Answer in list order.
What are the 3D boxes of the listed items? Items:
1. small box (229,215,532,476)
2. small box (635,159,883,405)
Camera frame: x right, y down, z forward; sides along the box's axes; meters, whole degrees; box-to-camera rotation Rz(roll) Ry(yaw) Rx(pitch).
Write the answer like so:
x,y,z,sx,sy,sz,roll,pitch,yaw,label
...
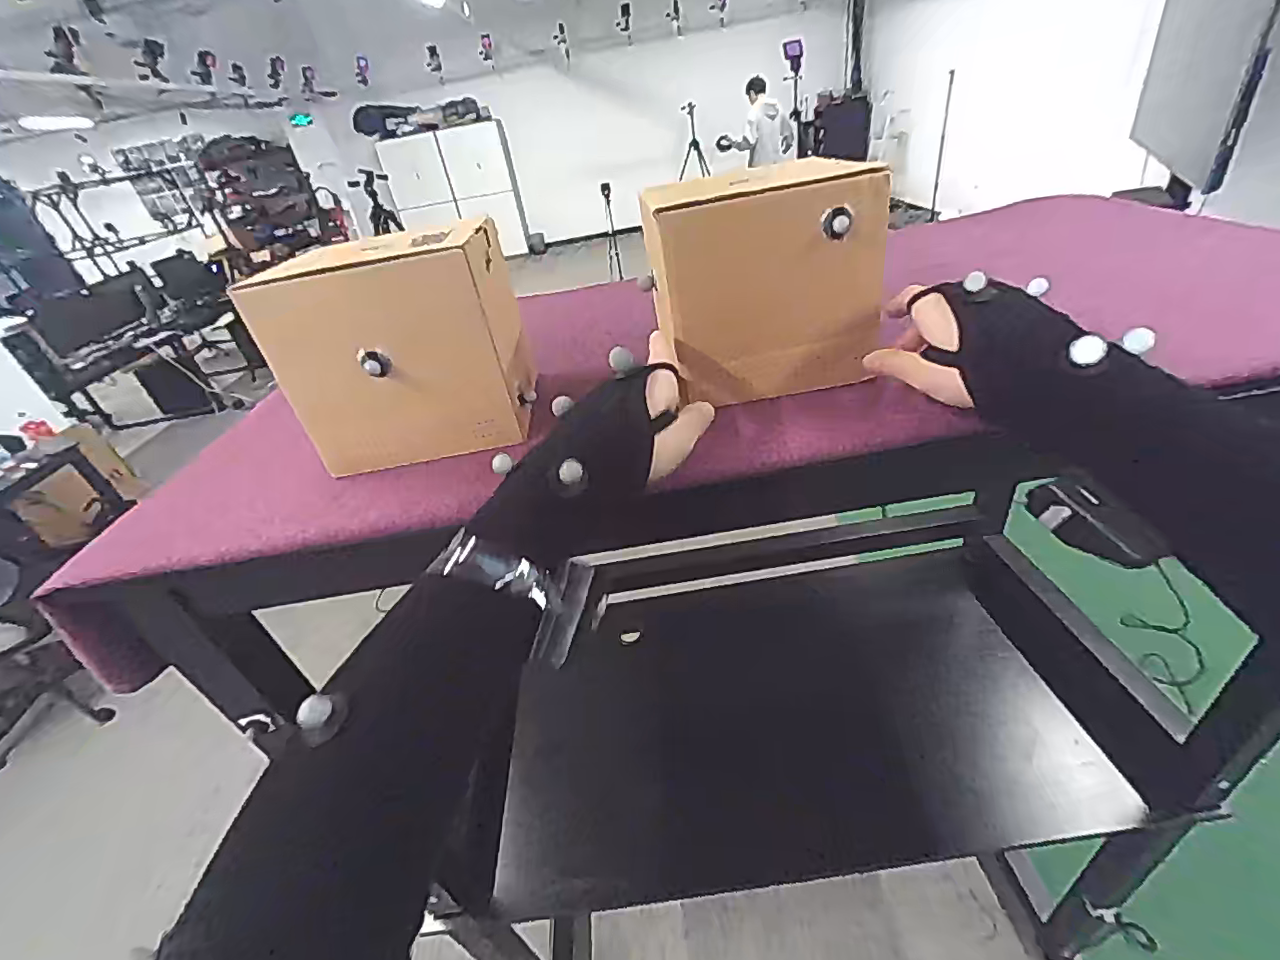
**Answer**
x,y,z,sx,sy,sz,roll,pitch,yaw,label
-0.206,-0.125,0.497,0.179,0.176,0.168,-12,33,0,small box
0.098,-0.181,0.495,0.179,0.176,0.168,-10,33,1,small box
